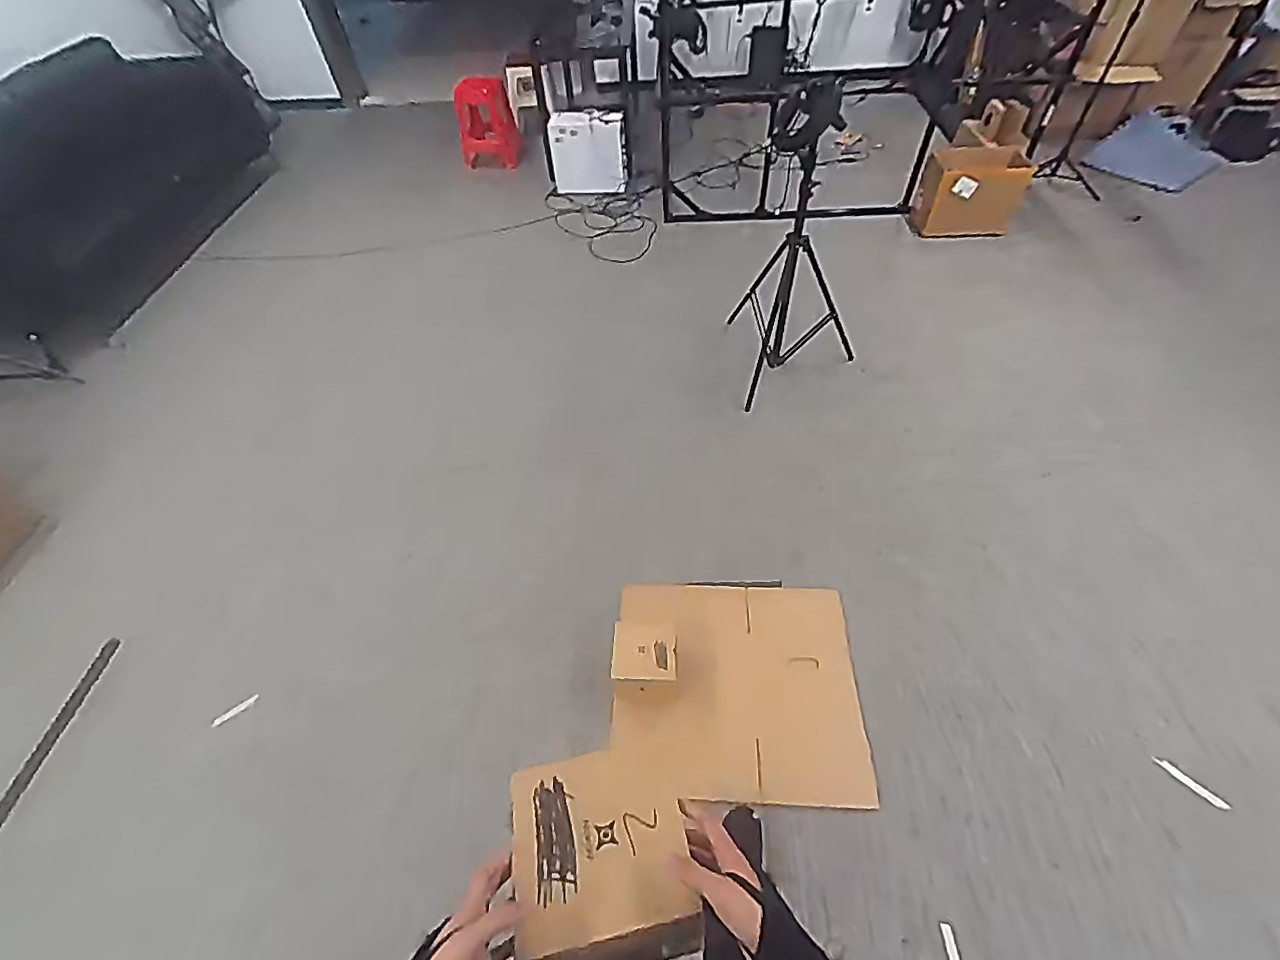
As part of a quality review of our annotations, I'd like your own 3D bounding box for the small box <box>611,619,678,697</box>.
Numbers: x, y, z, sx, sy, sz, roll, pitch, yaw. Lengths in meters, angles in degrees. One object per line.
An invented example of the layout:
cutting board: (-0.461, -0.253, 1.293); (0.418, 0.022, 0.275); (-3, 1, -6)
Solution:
small box: (0.019, 0.509, 1.539); (0.179, 0.176, 0.168); (0, 52, 5)
